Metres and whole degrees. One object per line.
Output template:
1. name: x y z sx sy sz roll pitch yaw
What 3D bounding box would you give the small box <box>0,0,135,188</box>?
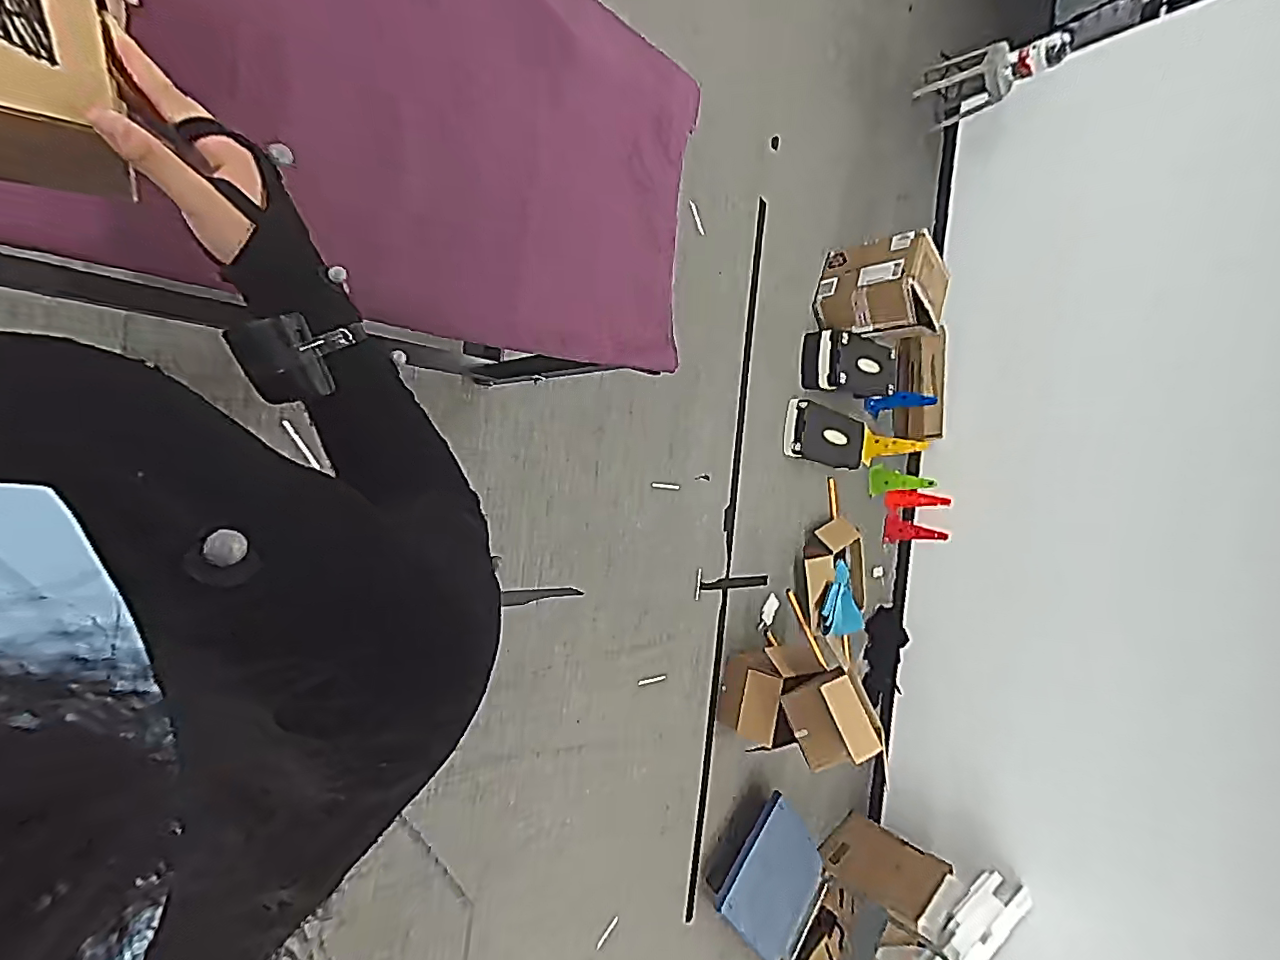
1. small box: -0.413 -0.285 0.305 0.179 0.176 0.168 -8 103 -39
